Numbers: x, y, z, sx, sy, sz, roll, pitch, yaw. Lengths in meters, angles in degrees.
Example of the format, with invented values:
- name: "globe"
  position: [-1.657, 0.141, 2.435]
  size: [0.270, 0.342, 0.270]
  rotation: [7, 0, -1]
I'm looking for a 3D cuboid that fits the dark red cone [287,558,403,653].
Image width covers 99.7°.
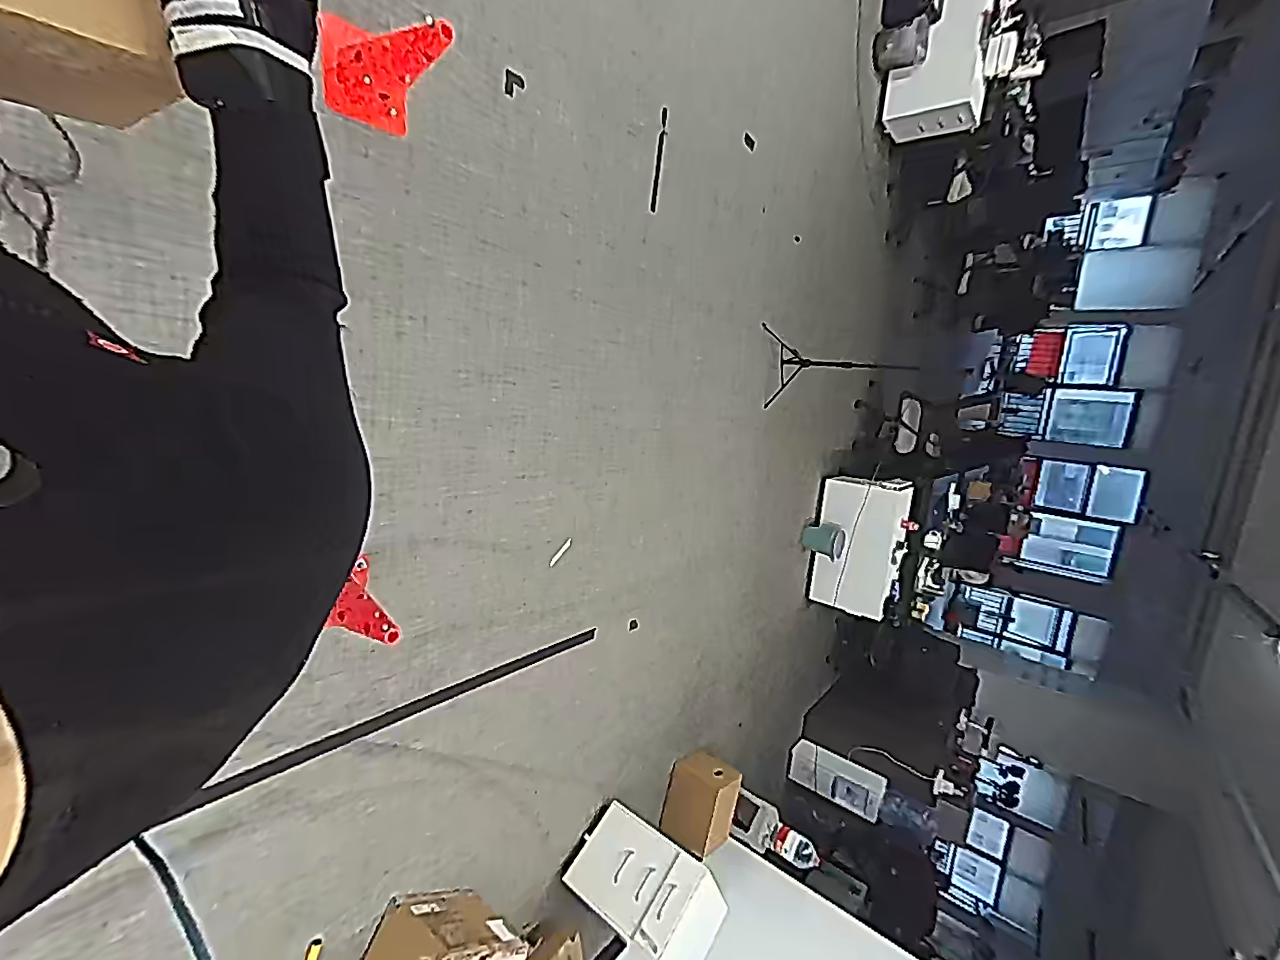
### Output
- name: "dark red cone"
  position: [-0.695, 0.333, 1.333]
  size: [0.201, 0.394, 0.202]
  rotation: [4, 96, -52]

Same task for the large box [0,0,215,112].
- name: "large box"
  position: [-0.523, -0.447, 0.272]
  size: [0.408, 0.320, 0.320]
  rotation: [-14, 117, -51]

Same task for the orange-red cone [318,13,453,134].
- name: "orange-red cone"
  position: [-0.537, -0.952, 1.209]
  size: [0.198, 0.360, 0.199]
  rotation: [-9, 106, -52]
